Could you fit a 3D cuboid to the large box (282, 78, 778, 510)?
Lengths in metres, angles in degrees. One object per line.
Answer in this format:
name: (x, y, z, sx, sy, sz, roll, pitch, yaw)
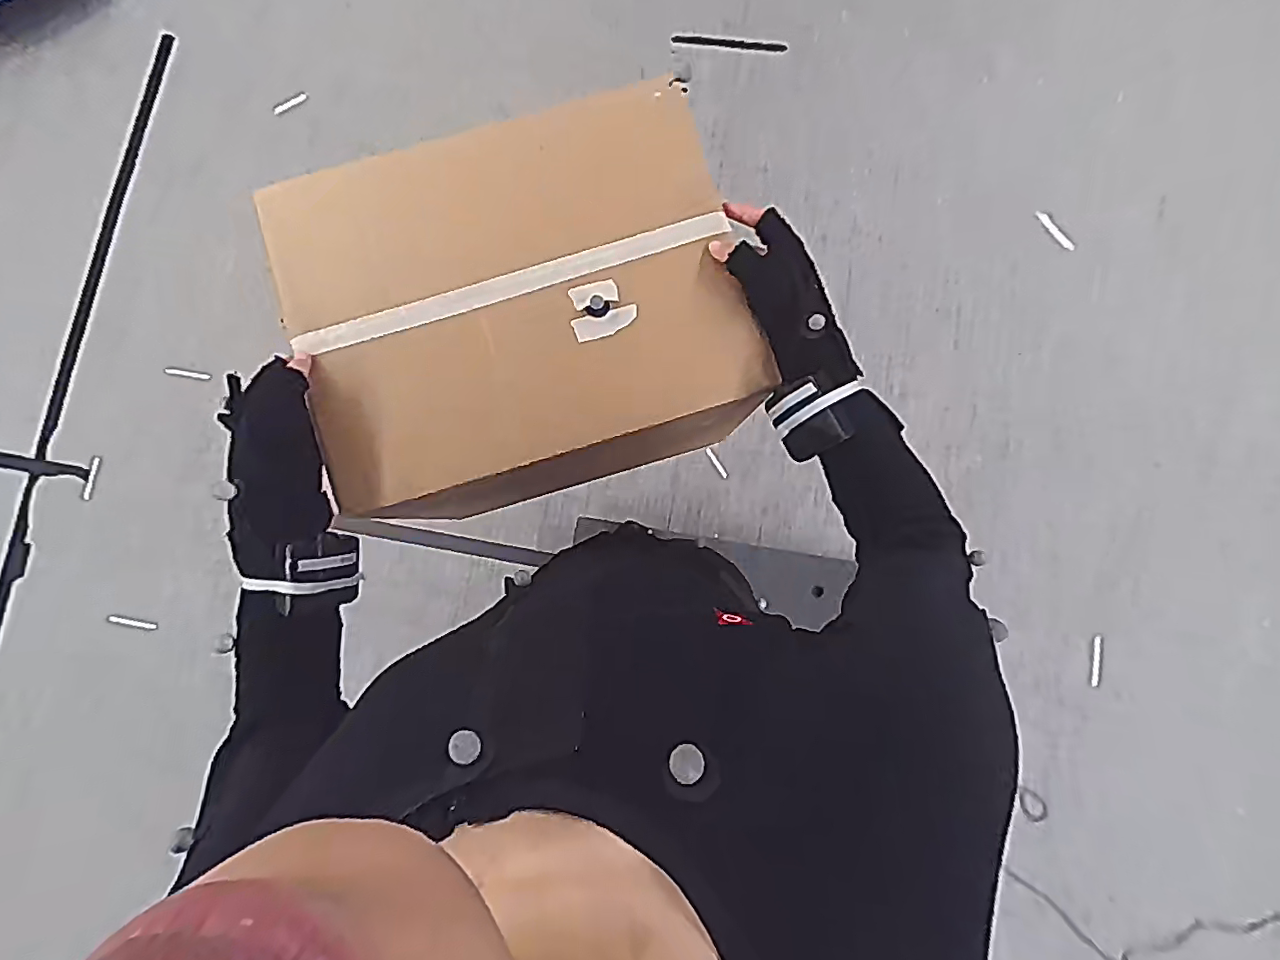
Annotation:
large box: (-0.107, -0.172, 0.647, 0.408, 0.320, 0.320, -16, 86, -2)
